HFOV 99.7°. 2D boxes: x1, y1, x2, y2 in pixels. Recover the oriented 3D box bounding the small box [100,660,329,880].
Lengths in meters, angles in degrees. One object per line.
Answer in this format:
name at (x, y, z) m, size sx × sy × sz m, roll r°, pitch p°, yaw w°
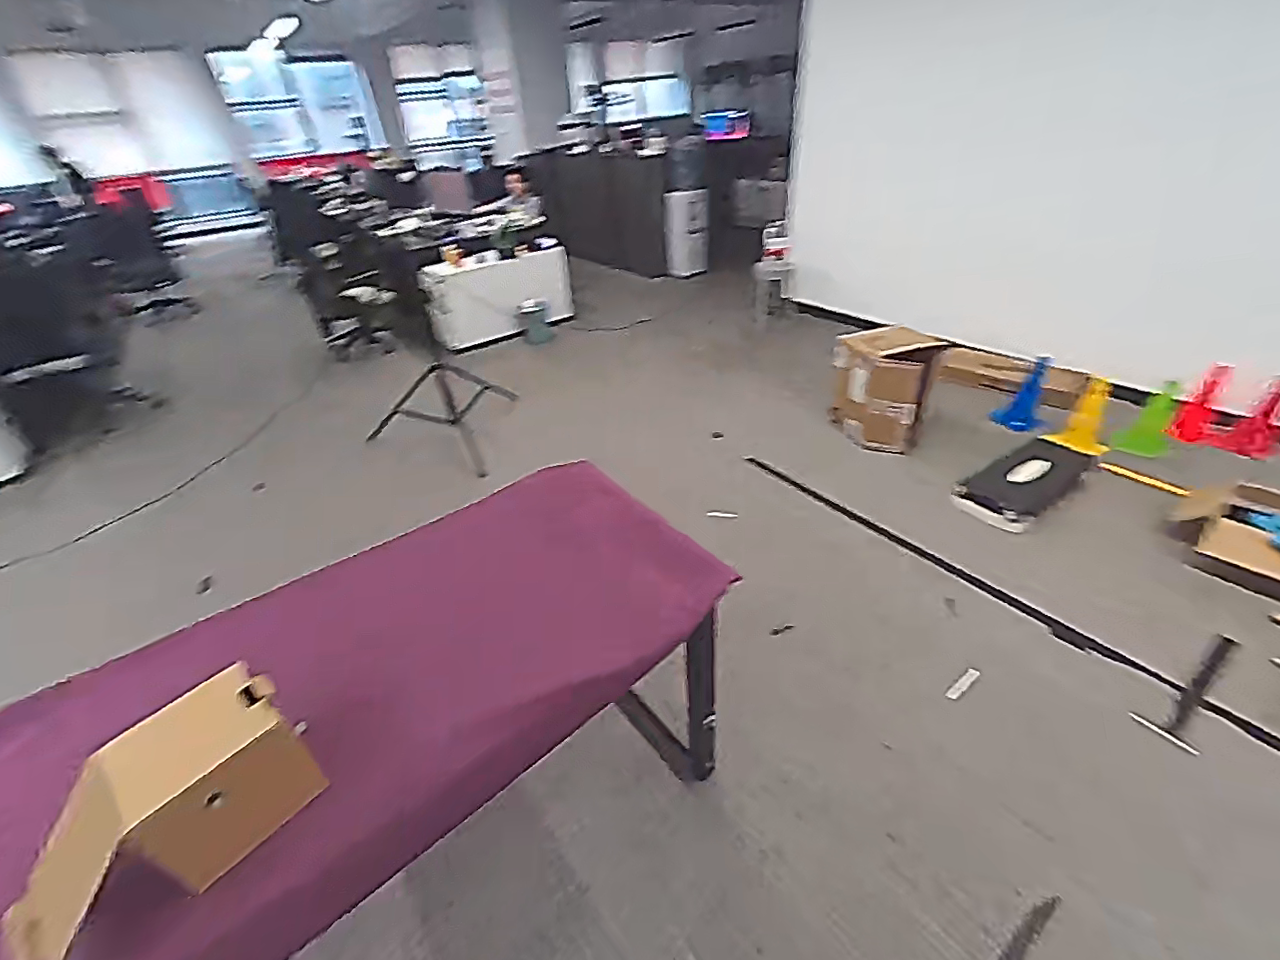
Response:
small box at (-0.579, 0.398, 0.751) m, size 0.168 × 0.176 × 0.179 m, roll 23°, pitch 43°, yaw 35°
